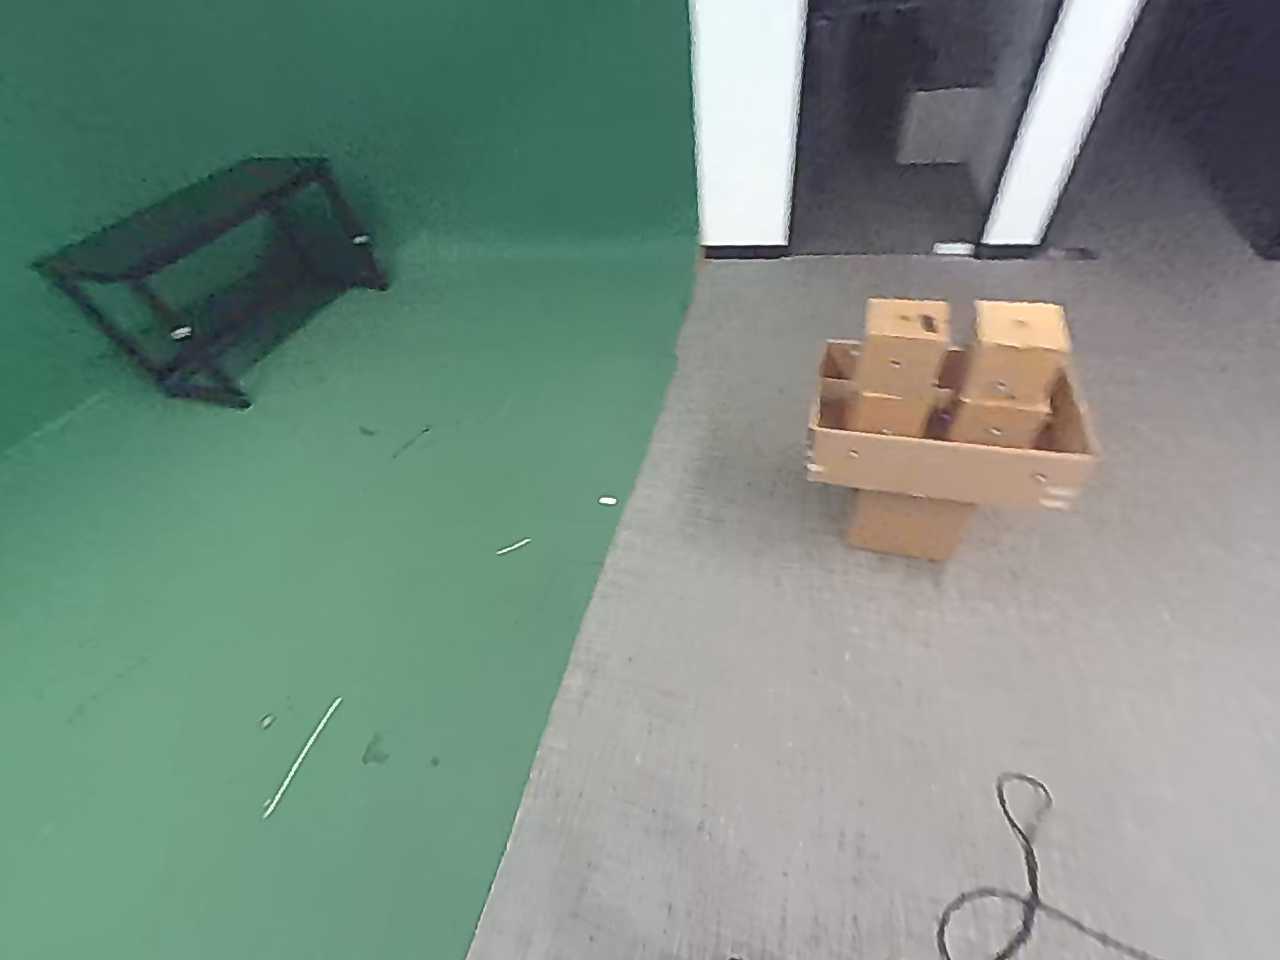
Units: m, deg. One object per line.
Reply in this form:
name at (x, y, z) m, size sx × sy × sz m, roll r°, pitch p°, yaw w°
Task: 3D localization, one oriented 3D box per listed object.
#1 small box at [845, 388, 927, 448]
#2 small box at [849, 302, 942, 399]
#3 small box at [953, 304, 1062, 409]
small box at (0.654, -0.211, 1.460) m, size 0.168 × 0.176 × 0.179 m, roll 5°, pitch 49°, yaw 13°
small box at (0.630, -0.319, 1.339) m, size 0.179 × 0.176 × 0.168 m, roll 10°, pitch 49°, yaw 18°
small box at (0.858, -0.293, 1.283) m, size 0.168 × 0.176 × 0.179 m, roll 9°, pitch 50°, yaw 18°
